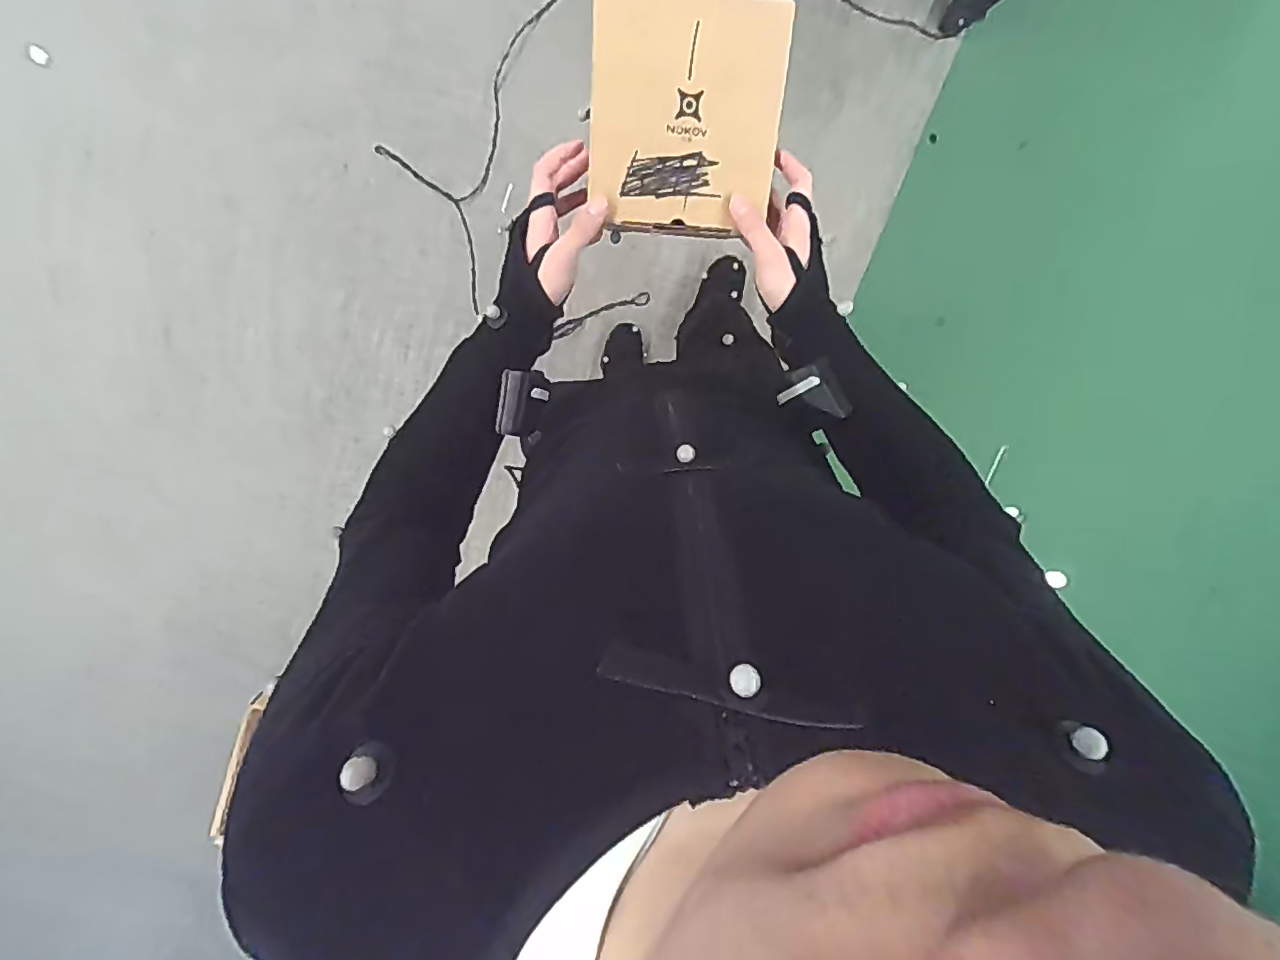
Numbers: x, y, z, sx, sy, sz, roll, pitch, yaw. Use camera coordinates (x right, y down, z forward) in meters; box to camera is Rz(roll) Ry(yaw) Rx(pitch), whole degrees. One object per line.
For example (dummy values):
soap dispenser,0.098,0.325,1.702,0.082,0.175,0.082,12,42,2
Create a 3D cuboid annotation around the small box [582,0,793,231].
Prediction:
small box,0.030,-0.345,0.528,0.168,0.176,0.179,1,112,-6
